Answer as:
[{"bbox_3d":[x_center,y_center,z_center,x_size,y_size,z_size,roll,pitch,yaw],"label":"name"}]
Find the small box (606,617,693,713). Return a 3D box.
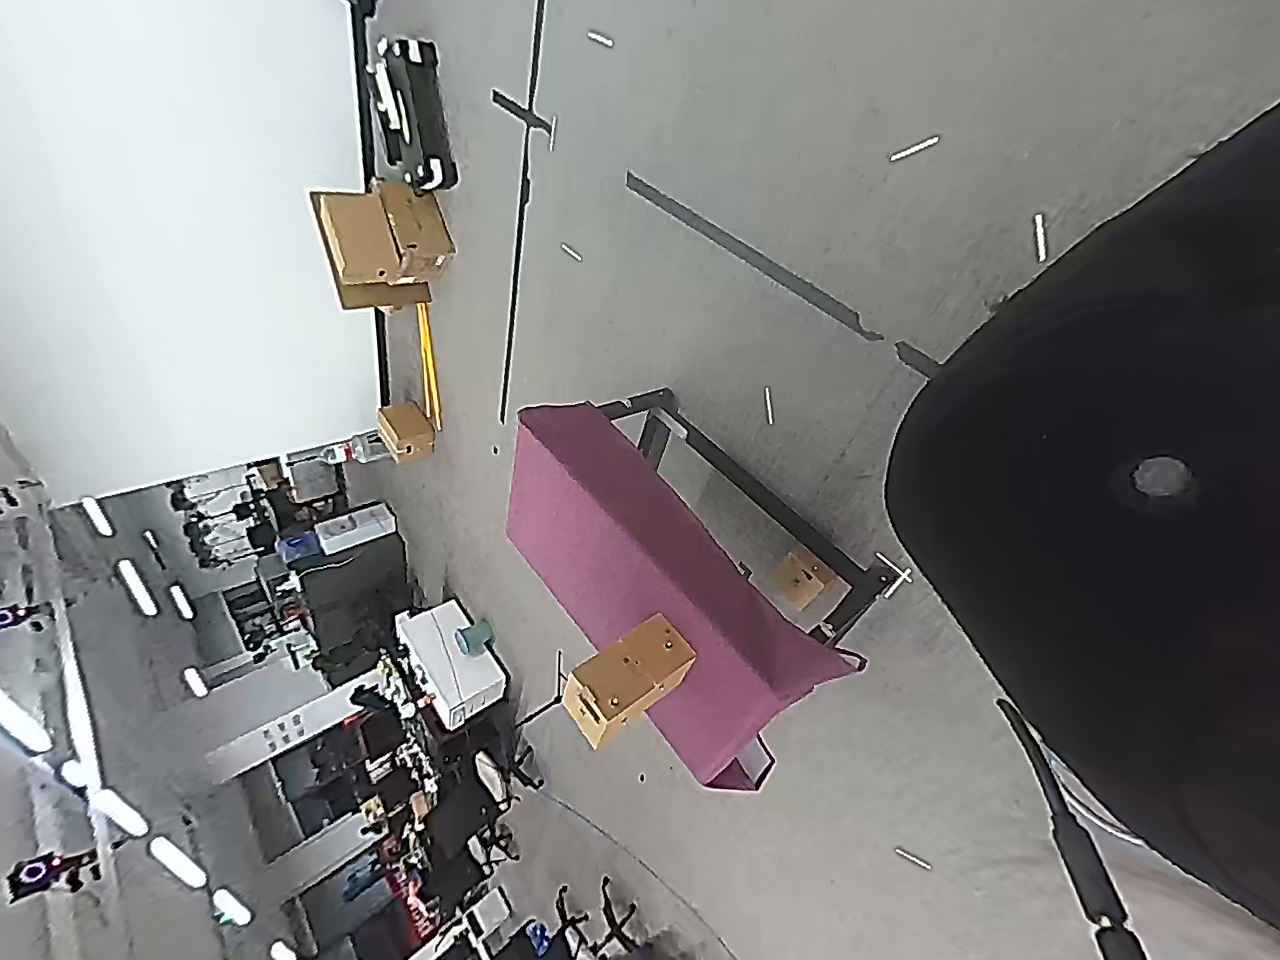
[{"bbox_3d":[0.030,0.535,1.575,0.168,0.176,0.179,45,136,28],"label":"small box"}]
